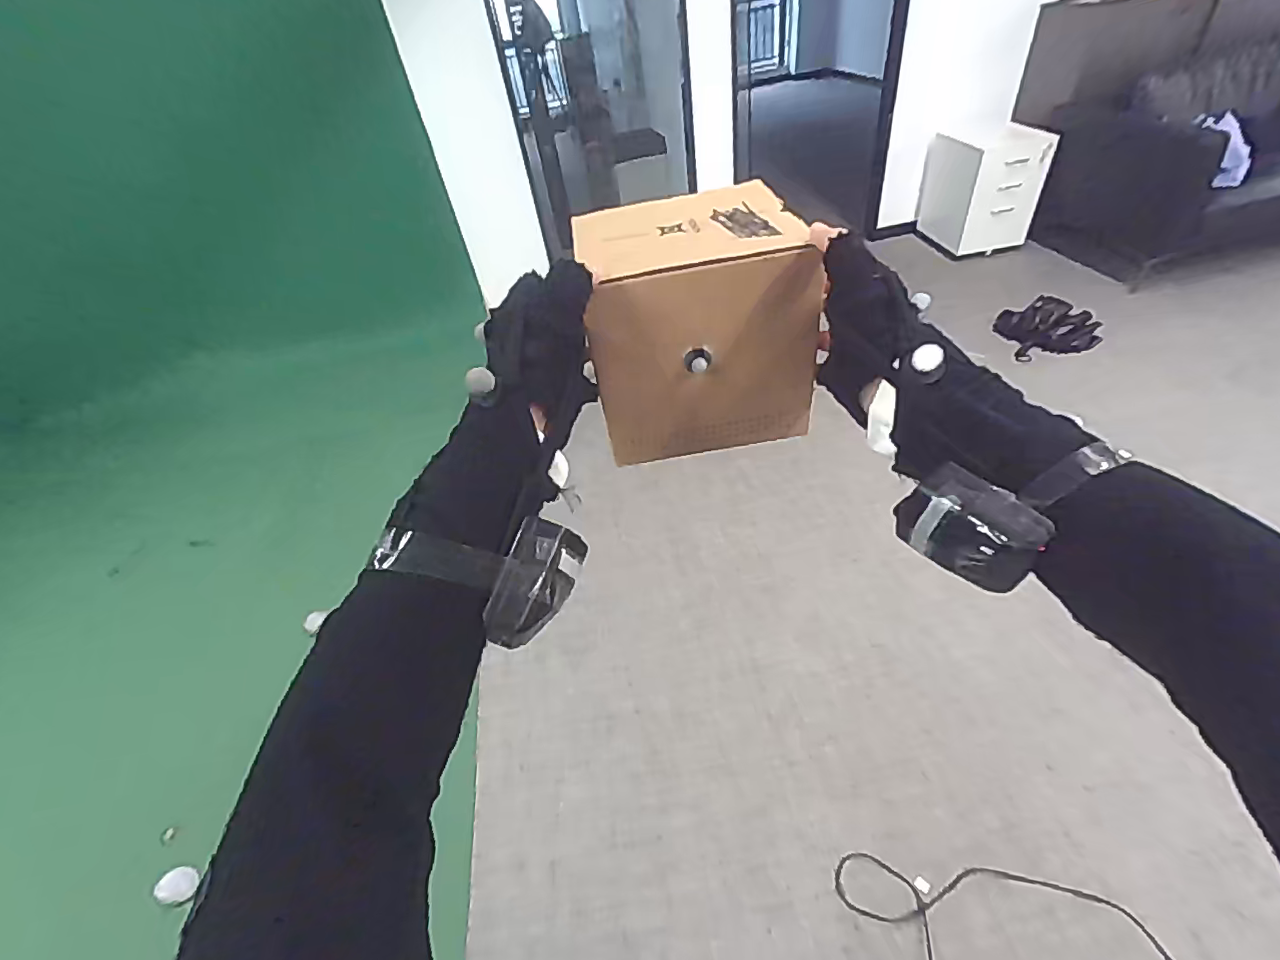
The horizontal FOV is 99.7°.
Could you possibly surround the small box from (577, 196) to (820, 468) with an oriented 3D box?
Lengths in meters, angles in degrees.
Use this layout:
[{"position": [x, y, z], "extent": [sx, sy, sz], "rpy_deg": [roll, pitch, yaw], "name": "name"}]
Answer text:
[{"position": [0.046, -0.134, 0.493], "extent": [0.179, 0.176, 0.168], "rpy_deg": [-11, 40, 1], "name": "small box"}]
